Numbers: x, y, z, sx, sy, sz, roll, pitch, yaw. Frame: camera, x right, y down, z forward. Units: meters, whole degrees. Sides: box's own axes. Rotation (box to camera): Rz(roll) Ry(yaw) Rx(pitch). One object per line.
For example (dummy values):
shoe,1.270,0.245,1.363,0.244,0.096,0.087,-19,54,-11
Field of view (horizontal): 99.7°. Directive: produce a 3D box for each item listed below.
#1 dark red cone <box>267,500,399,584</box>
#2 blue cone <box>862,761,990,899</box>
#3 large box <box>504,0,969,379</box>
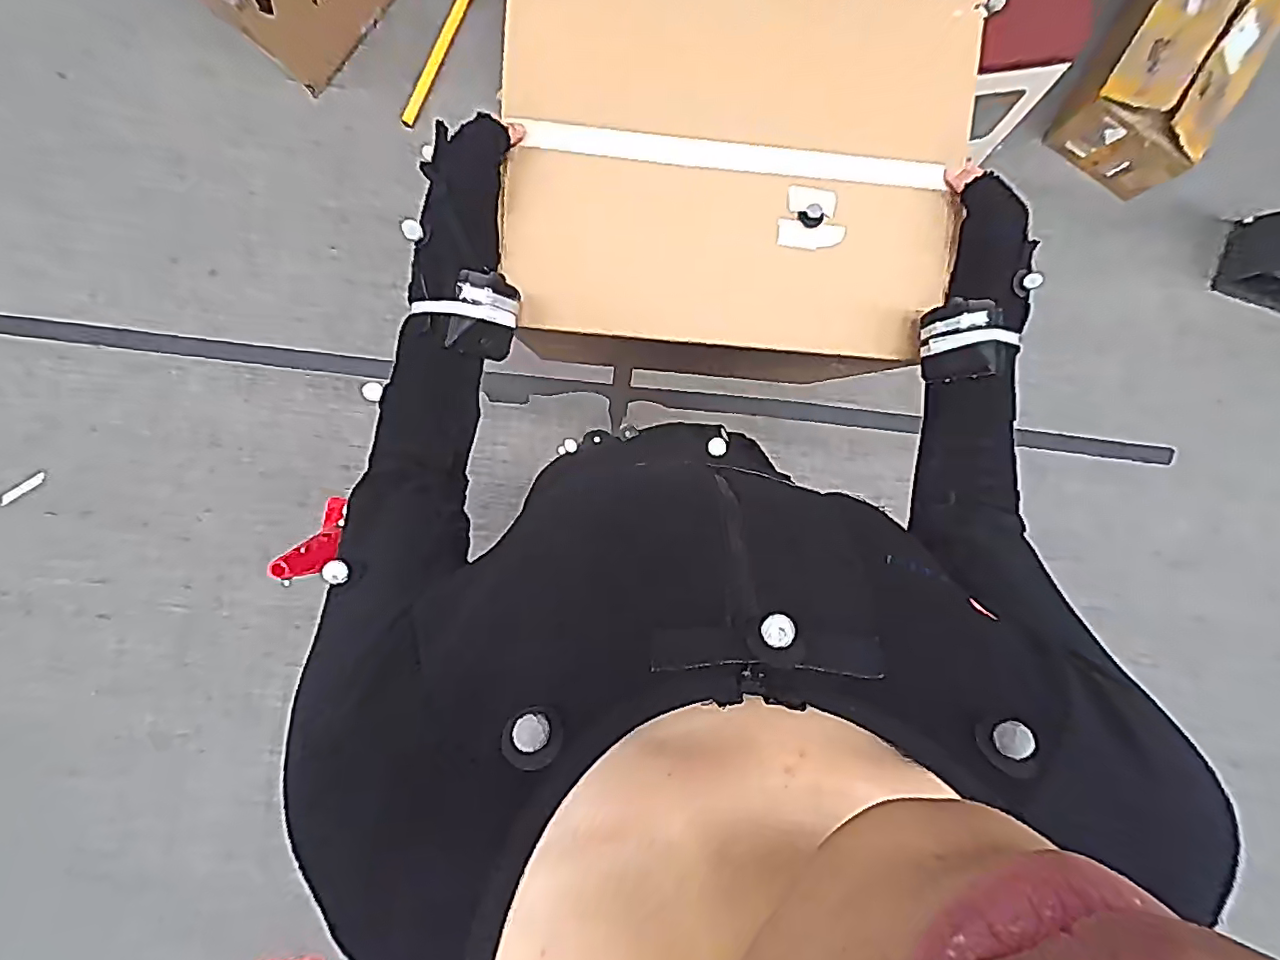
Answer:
dark red cone,-0.730,0.170,1.252,0.201,0.394,0.202,12,93,-5
blue cone,0.755,0.920,1.408,0.192,0.380,0.193,10,93,-4
large box,0.073,-0.294,0.622,0.408,0.320,0.320,4,96,-5
